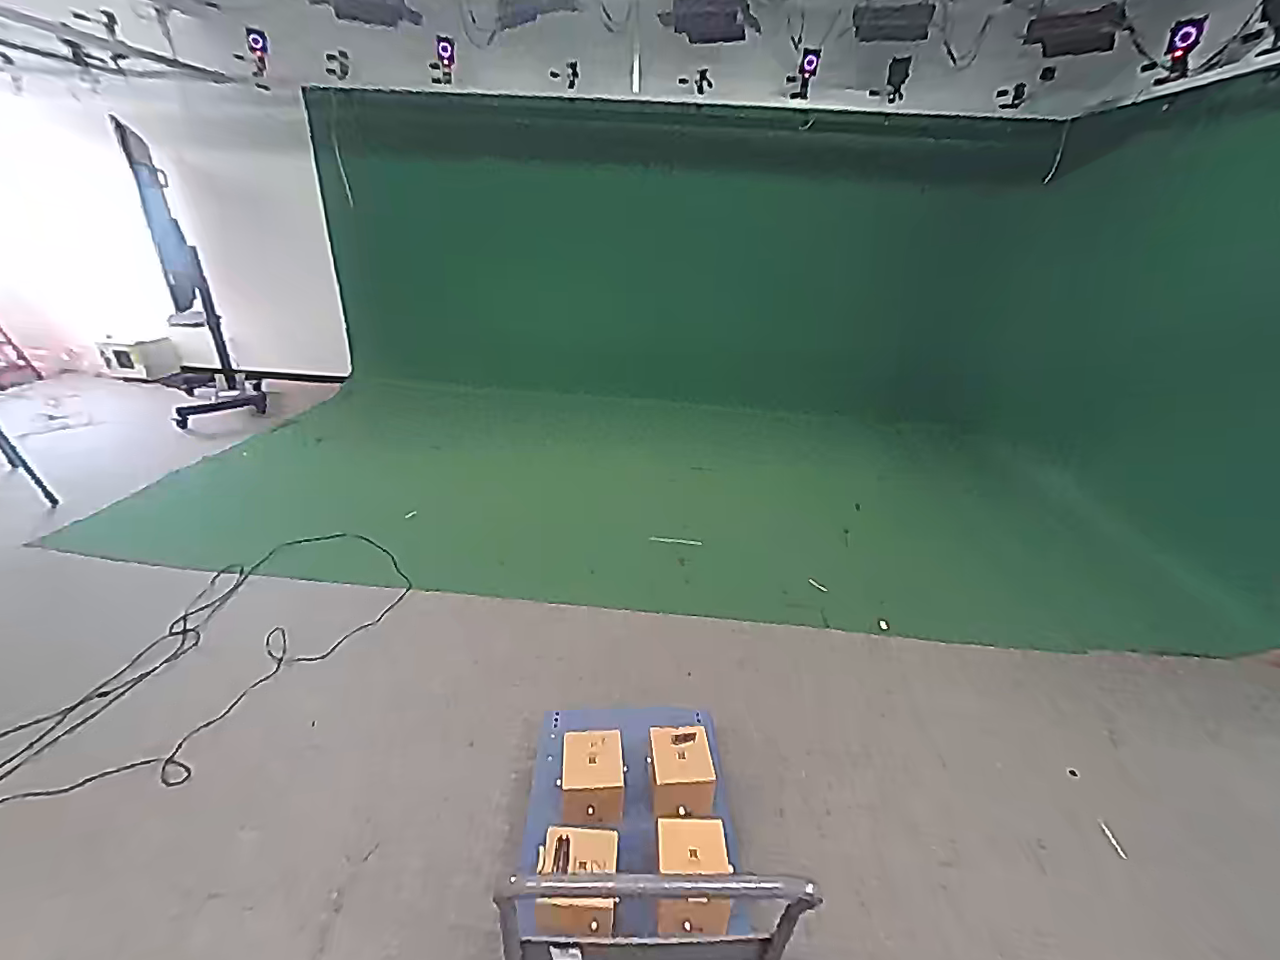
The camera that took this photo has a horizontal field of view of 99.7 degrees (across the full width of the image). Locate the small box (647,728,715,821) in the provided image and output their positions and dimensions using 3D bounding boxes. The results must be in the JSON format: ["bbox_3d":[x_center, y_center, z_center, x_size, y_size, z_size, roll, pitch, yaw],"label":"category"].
[{"bbox_3d":[0.113,0.848,1.562,0.168,0.176,0.179,0,28,-6],"label":"small box"}]

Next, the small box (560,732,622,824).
[{"bbox_3d":[-0.138,0.847,1.533,0.168,0.176,0.179,1,27,-6],"label":"small box"}]

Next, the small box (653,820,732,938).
[{"bbox_3d":[0.121,0.971,1.322,0.168,0.176,0.179,3,27,-2],"label":"small box"}]
